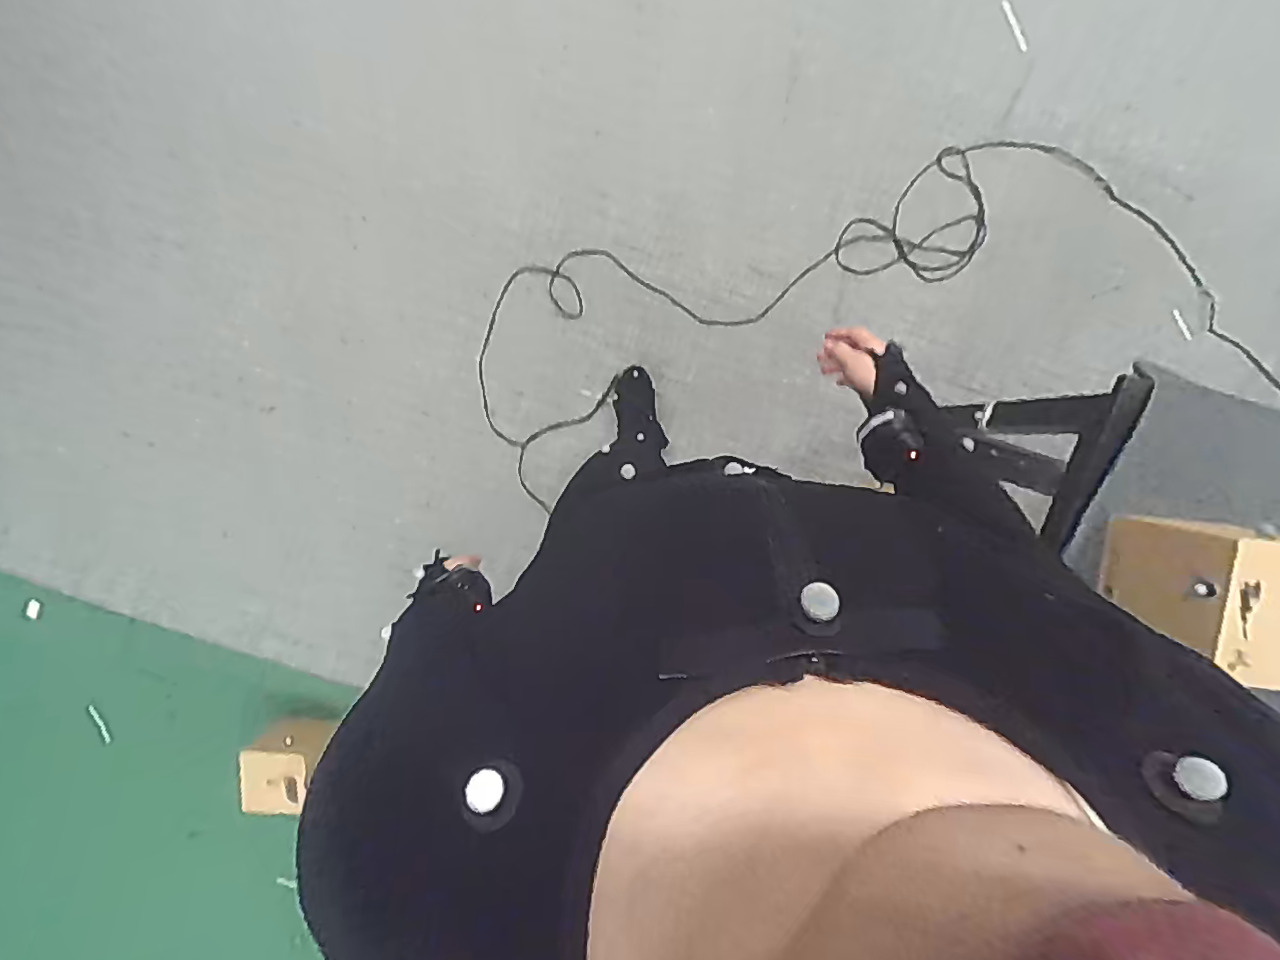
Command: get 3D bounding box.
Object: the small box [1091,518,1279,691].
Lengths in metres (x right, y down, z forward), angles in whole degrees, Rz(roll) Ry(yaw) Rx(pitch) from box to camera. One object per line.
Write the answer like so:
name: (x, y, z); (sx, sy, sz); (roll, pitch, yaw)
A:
small box: (0.720, 0.144, 0.666); (0.179, 0.176, 0.168); (5, 95, 0)

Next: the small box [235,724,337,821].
small box: (-0.941, 0.779, 1.453); (0.179, 0.176, 0.168); (2, 95, 1)
